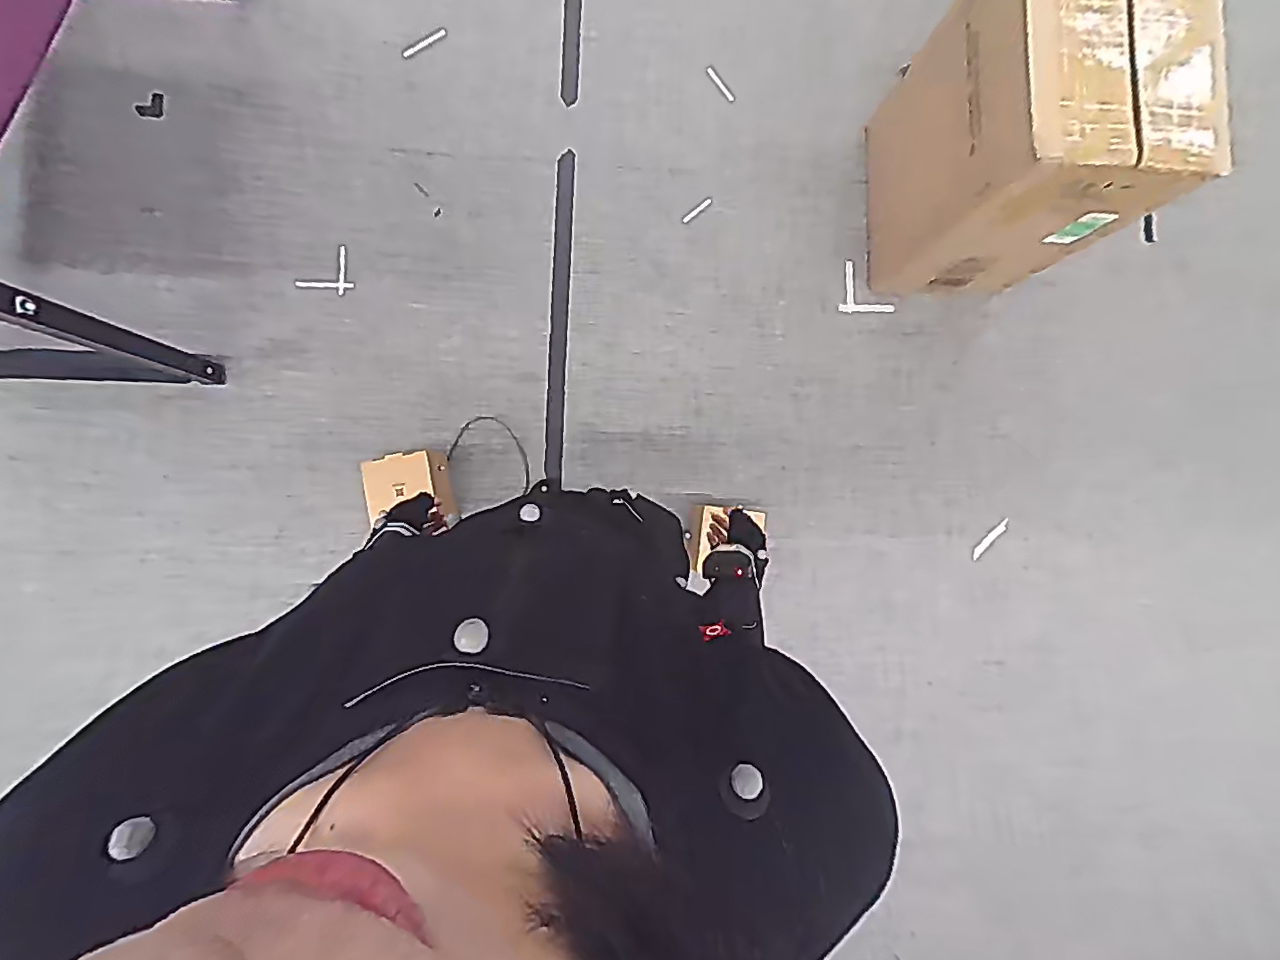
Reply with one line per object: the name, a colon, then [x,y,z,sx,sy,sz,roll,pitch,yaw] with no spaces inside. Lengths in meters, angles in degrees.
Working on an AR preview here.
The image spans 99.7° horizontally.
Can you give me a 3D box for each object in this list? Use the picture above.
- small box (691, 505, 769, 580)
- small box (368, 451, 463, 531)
small box: [0.239,0.165,1.469,0.168,0.176,0.179,7,87,-4]
small box: [-0.579,0.029,1.411,0.168,0.176,0.179,-12,89,-2]
